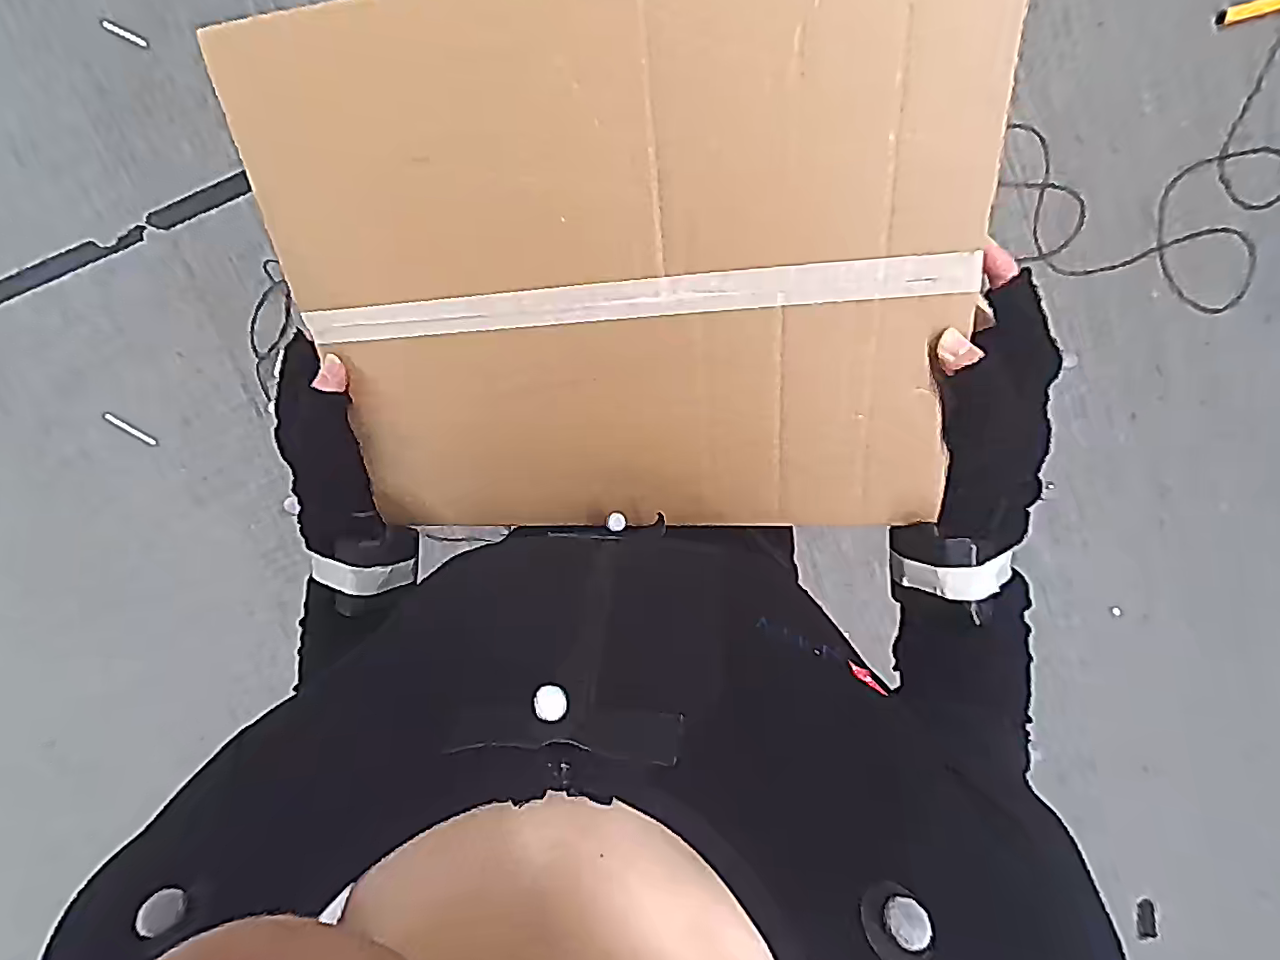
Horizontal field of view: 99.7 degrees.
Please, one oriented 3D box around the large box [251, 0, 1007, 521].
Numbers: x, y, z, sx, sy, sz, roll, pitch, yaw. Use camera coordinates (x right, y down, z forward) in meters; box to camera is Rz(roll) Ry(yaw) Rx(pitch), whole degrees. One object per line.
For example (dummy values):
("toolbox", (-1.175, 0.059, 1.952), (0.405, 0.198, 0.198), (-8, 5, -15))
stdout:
("large box", (0.007, -0.177, 0.467), (0.408, 0.320, 0.320), (-1, 119, 10))
